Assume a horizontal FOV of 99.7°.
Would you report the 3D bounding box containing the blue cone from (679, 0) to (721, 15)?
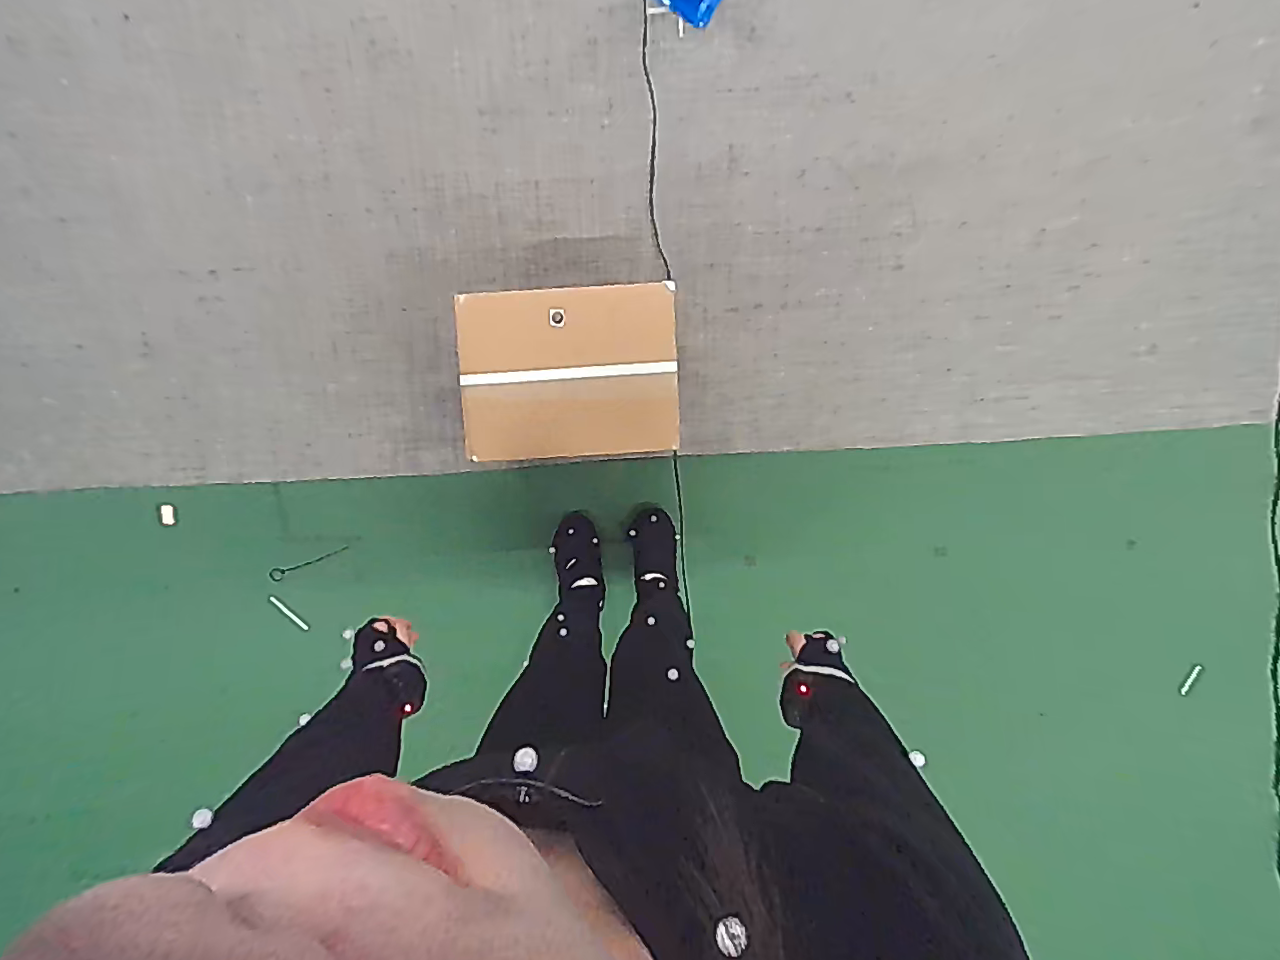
[{"bbox_3d":[0.116,-1.091,0.990,0.192,0.380,0.193,30,98,-5],"label":"blue cone"}]
